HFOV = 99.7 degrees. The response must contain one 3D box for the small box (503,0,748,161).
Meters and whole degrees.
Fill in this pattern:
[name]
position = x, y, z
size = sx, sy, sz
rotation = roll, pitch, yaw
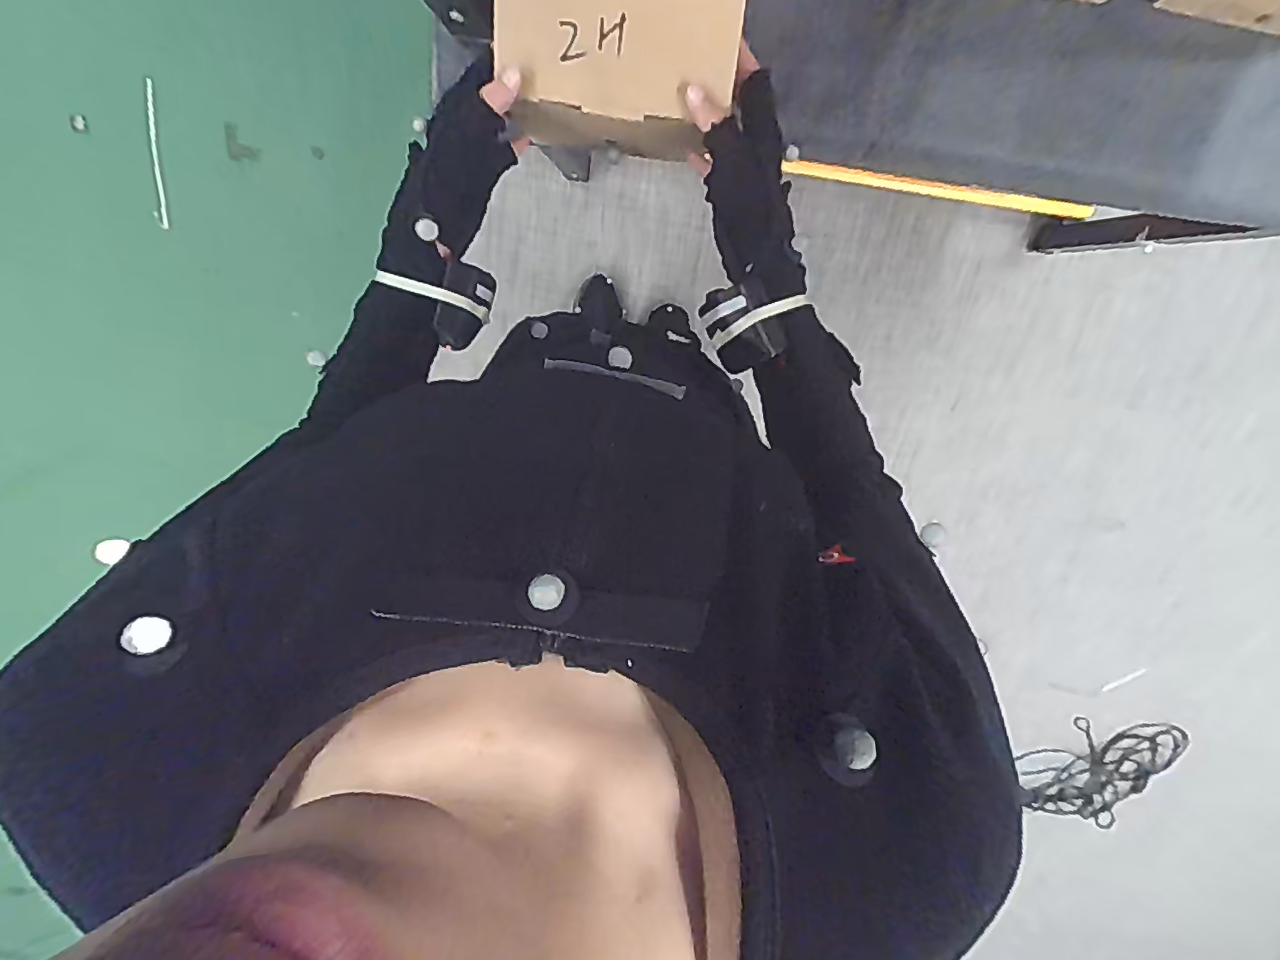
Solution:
[small box]
position = -0.008, -0.379, 0.432
size = 0.168, 0.176, 0.179
rotation = 6, 111, -3
